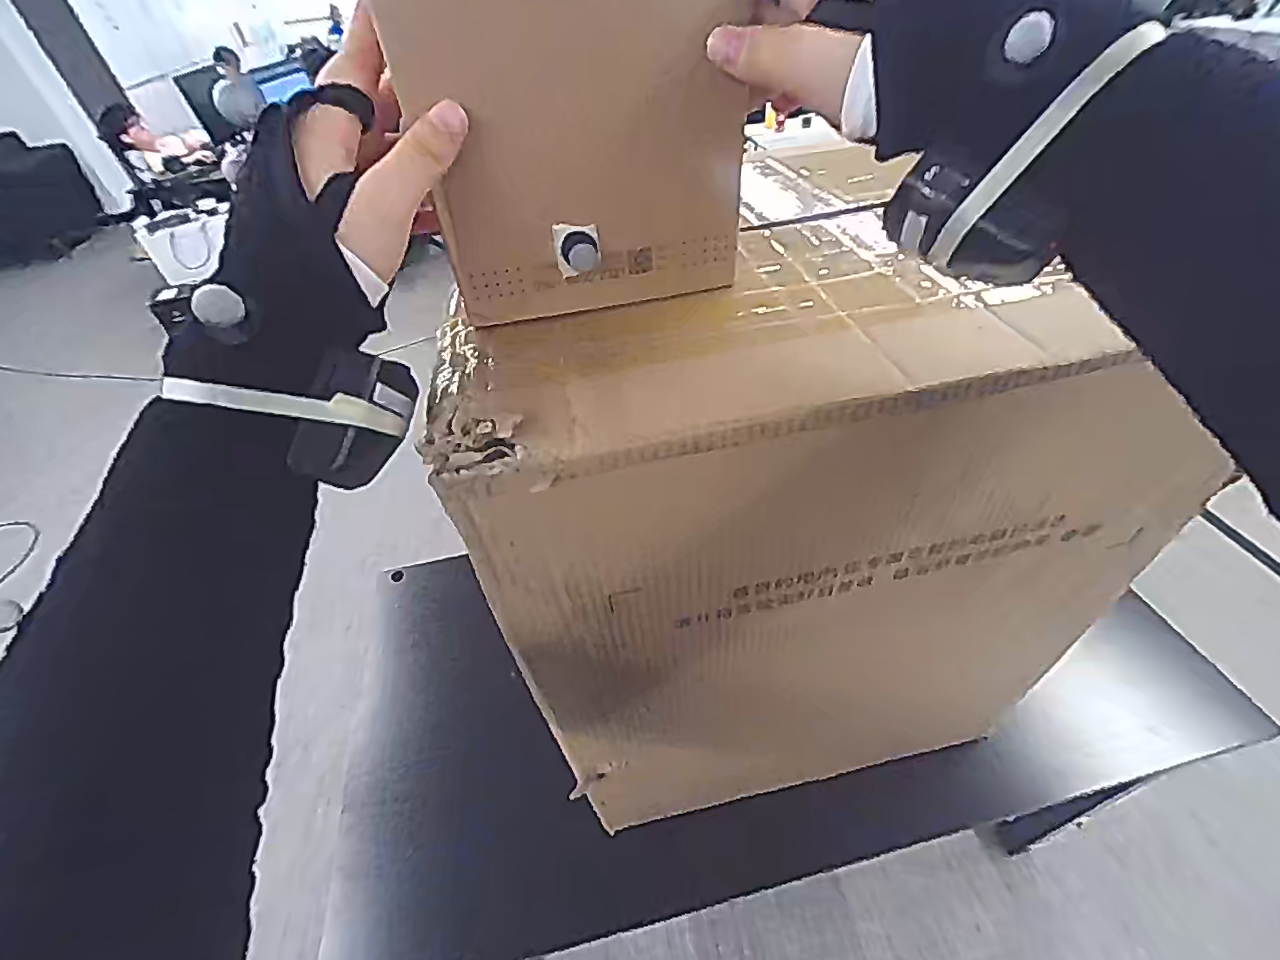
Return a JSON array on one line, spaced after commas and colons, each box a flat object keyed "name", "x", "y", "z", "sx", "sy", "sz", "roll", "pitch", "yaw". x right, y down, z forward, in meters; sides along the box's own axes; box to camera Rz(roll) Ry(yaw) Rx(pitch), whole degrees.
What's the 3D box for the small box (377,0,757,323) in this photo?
[{"name": "small box", "x": -0.043, "y": -0.218, "z": 0.326, "sx": 0.168, "sy": 0.176, "sz": 0.179, "roll": -13, "pitch": 45, "yaw": -7}]
